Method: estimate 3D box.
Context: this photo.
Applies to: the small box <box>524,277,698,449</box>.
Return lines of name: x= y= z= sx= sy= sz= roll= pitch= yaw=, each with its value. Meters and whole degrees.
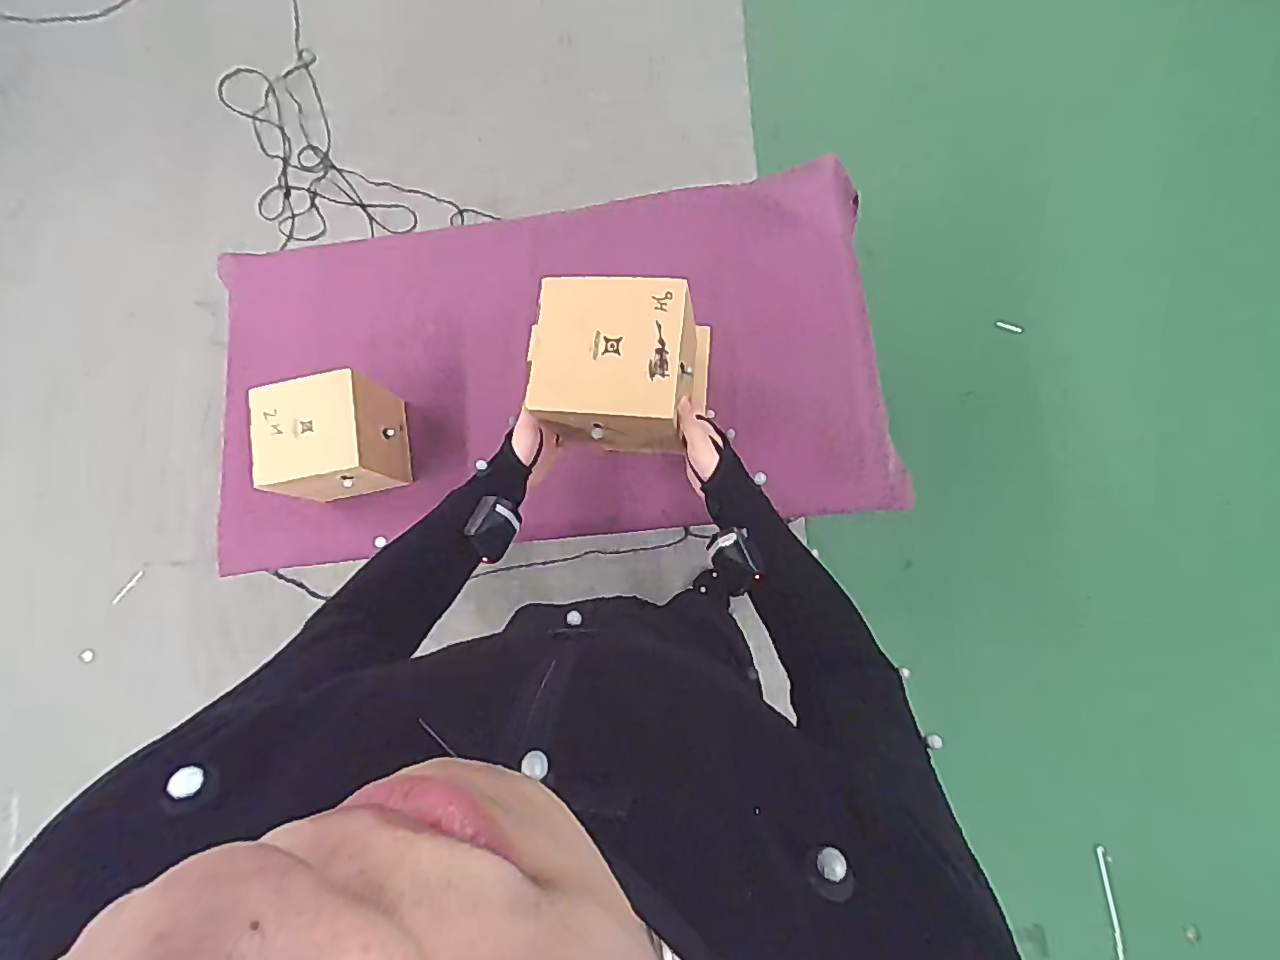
small box: x=-0.025 y=-0.139 z=0.690 sx=0.179 sy=0.176 sz=0.168 roll=5 pitch=83 yaw=11

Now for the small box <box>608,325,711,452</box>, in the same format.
small box: x=0.021 y=-0.145 z=0.888 sx=0.179 sy=0.176 sz=0.168 roll=4 pitch=81 yaw=6

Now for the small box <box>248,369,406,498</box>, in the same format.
small box: x=-0.519 y=-0.071 z=0.921 sx=0.179 sy=0.176 sz=0.168 roll=-11 pitch=80 yaw=3
